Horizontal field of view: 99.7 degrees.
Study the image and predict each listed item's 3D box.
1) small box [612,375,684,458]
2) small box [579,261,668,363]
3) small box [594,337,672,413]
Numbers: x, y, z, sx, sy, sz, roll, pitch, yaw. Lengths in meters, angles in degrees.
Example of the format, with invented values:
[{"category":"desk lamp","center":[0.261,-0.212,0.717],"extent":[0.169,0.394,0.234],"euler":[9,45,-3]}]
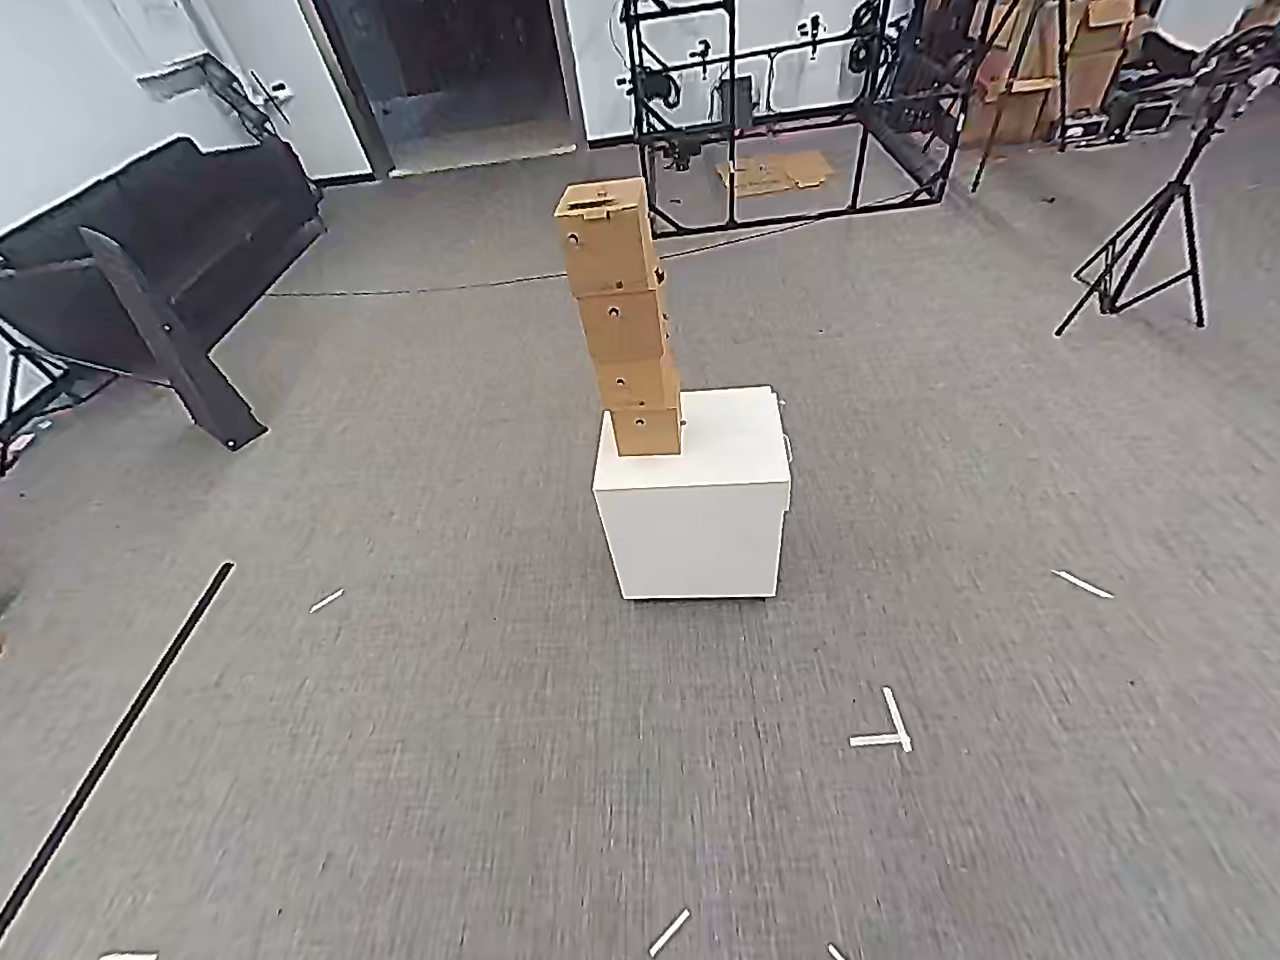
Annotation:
[{"category":"small box","center":[0.028,-0.173,1.499],"extent":[0.179,0.176,0.168],"euler":[-1,47,8]},{"category":"small box","center":[-0.031,-0.386,1.258],"extent":[0.179,0.176,0.168],"euler":[-2,47,7]},{"category":"small box","center":[-0.009,-0.283,1.385],"extent":[0.168,0.176,0.179],"euler":[0,46,10]}]
